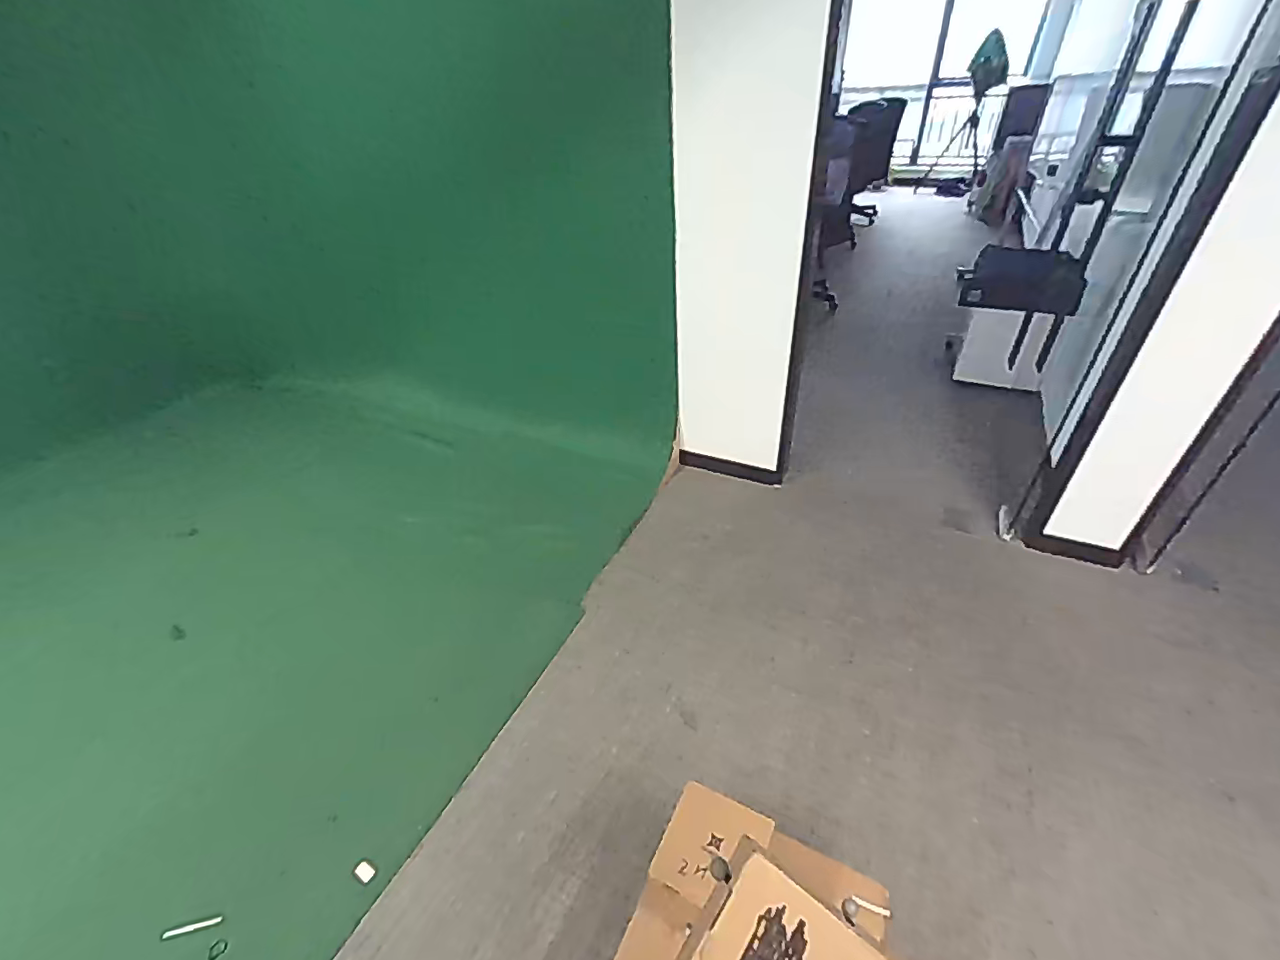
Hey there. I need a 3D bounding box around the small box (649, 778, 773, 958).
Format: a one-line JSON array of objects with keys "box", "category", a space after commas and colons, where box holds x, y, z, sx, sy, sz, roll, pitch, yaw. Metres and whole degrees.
[{"box": [0.125, 0.686, 0.962, 0.168, 0.176, 0.179, 15, 38, 24], "category": "small box"}]
